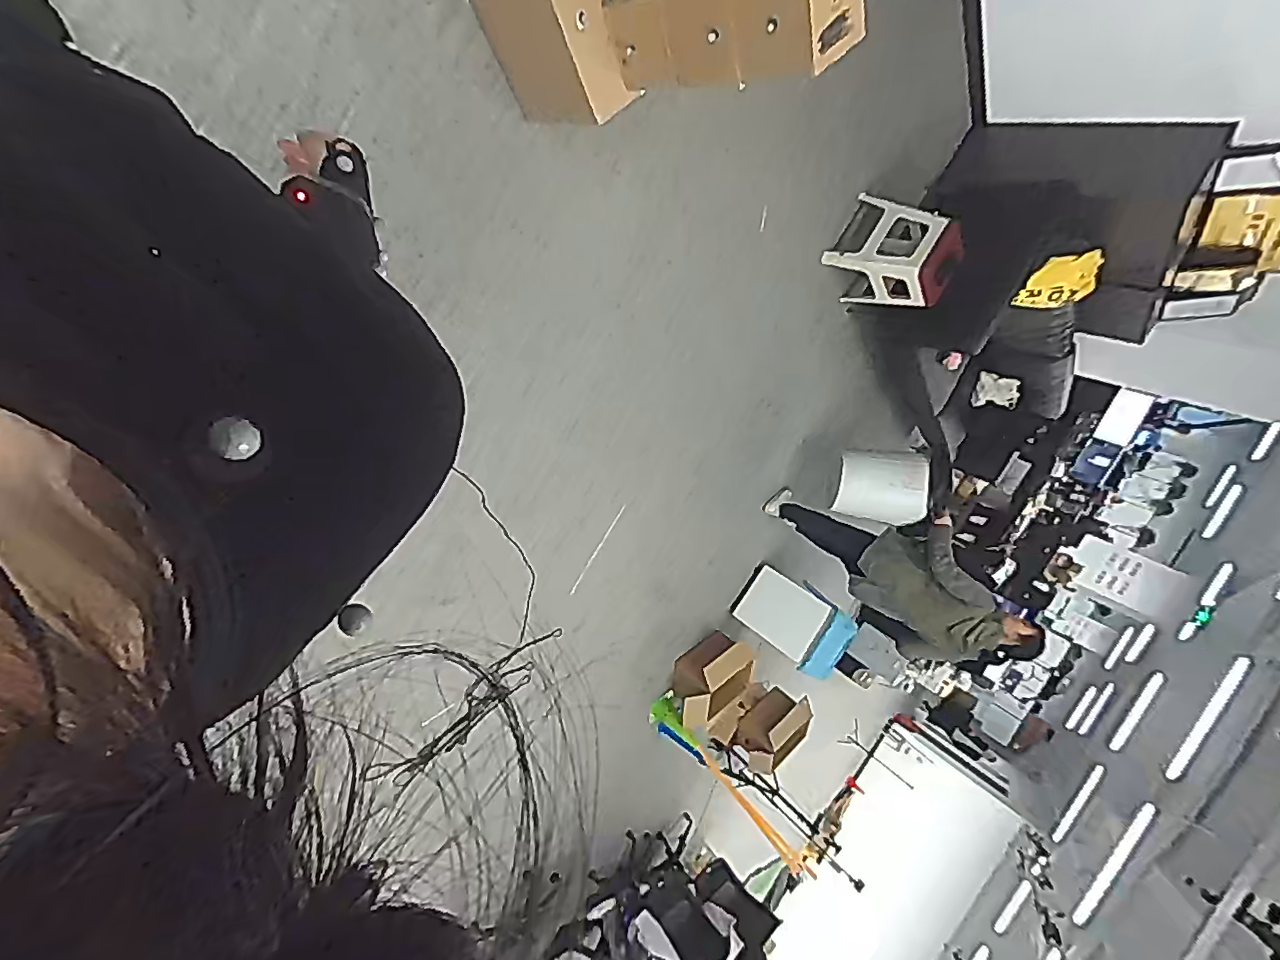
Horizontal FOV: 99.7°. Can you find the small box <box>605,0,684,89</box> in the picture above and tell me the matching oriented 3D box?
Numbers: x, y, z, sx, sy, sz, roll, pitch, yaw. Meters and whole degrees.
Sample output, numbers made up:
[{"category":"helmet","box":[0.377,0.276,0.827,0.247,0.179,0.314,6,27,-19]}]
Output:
[{"category":"small box","box":[0.057,-0.987,1.180,0.179,0.176,0.168,-47,140,-15]}]
